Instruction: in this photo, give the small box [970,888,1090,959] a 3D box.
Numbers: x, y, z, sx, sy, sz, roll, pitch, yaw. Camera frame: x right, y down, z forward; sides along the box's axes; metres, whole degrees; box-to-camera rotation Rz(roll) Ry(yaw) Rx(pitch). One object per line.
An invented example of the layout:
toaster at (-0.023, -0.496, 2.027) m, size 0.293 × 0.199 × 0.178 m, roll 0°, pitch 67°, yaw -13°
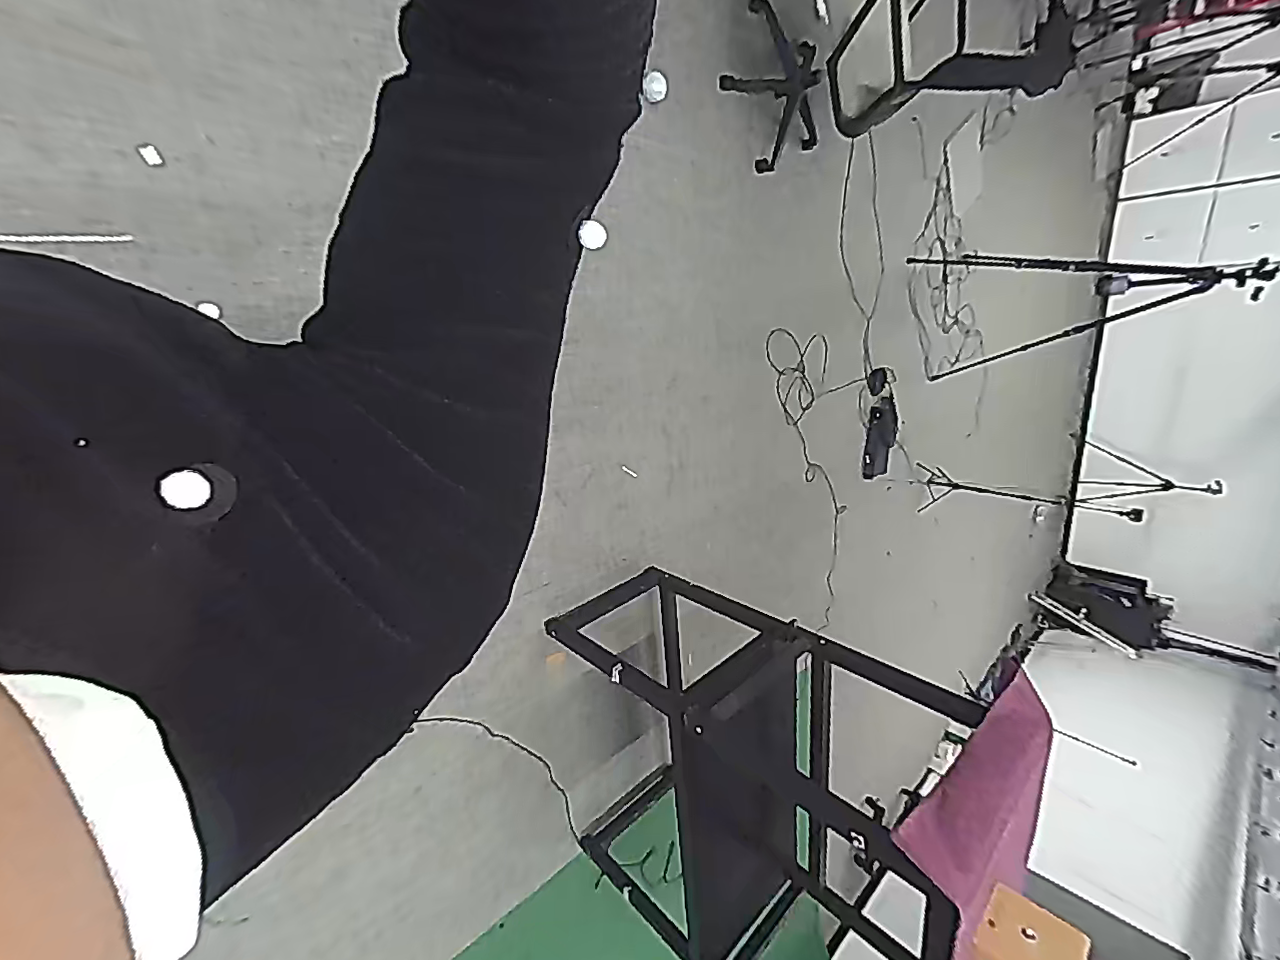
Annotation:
small box at (0.806, 1.009, 1.129) m, size 0.168 × 0.176 × 0.179 m, roll -22°, pitch 114°, yaw -37°
